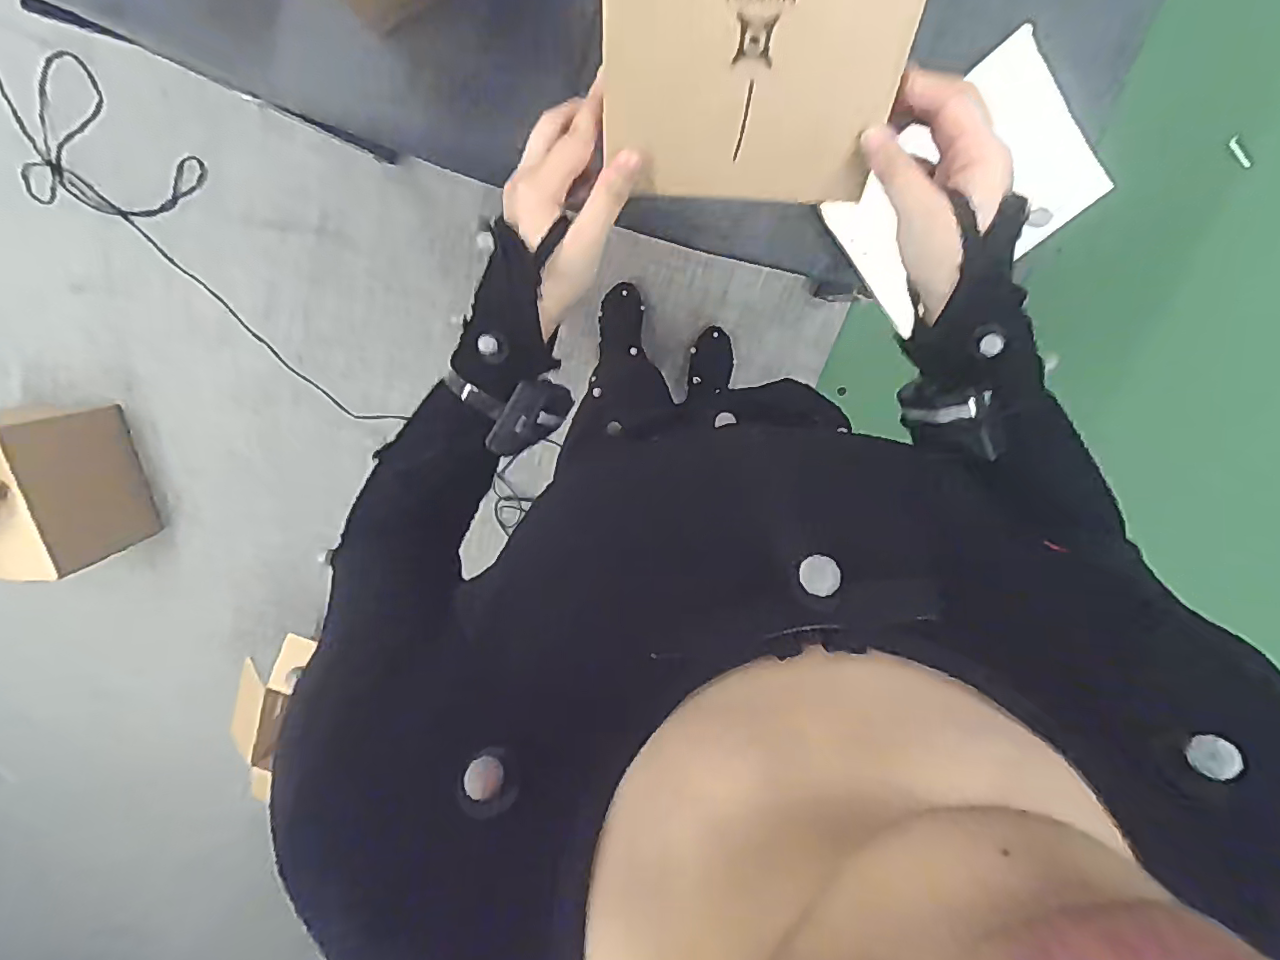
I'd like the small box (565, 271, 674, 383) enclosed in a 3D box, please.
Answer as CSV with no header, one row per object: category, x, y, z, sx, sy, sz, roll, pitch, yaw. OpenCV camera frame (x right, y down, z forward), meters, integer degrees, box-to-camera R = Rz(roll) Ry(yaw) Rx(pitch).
small box,-0.040,-0.366,1.292,0.179,0.168,0.176,-43,132,-9

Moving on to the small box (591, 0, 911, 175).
small box,0.057,-0.307,0.324,0.168,0.176,0.179,2,136,-1
